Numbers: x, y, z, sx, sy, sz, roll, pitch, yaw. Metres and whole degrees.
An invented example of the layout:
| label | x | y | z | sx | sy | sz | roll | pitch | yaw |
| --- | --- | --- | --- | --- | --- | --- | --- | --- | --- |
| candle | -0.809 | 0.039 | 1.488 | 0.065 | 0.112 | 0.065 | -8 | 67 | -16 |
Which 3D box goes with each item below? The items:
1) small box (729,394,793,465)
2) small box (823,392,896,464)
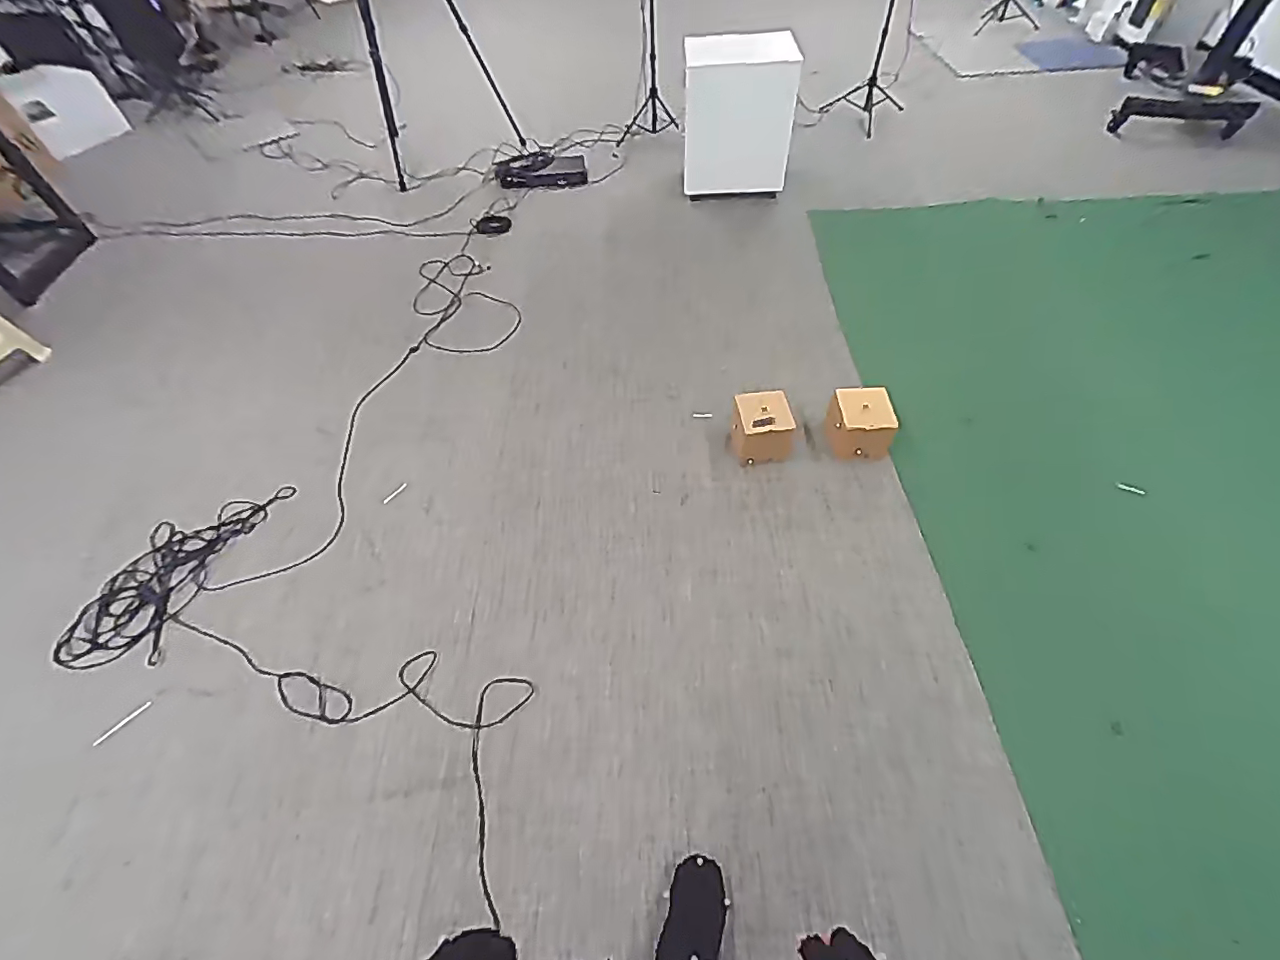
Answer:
| label | x | y | z | sx | sy | sz | roll | pitch | yaw |
| --- | --- | --- | --- | --- | --- | --- | --- | --- | --- |
| small box | 0.400 | -0.162 | 1.812 | 0.168 | 0.176 | 0.179 | -5 | 53 | -2 |
| small box | 0.724 | -0.173 | 1.809 | 0.168 | 0.176 | 0.179 | -2 | 54 | 2 |
